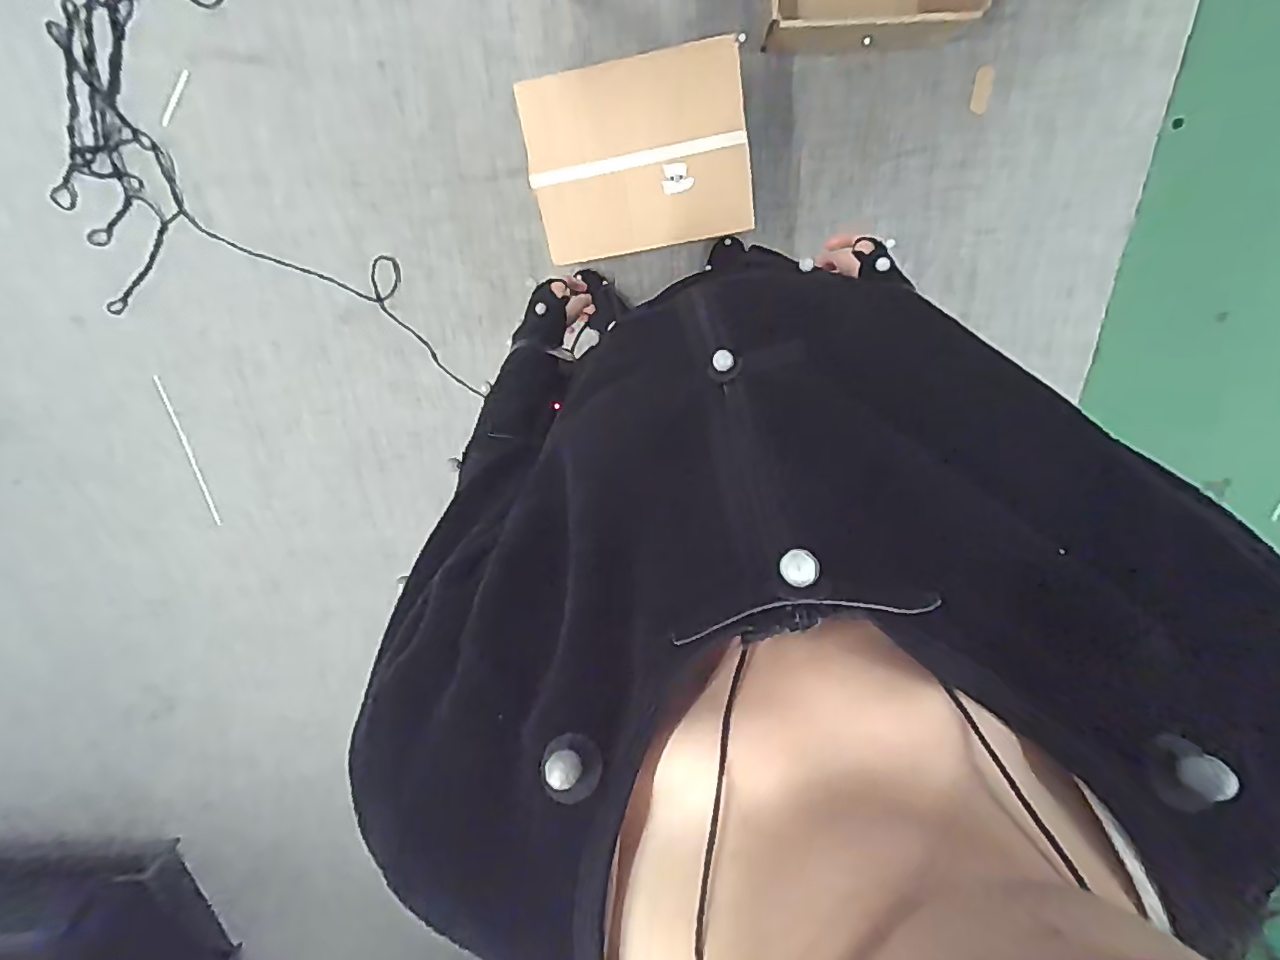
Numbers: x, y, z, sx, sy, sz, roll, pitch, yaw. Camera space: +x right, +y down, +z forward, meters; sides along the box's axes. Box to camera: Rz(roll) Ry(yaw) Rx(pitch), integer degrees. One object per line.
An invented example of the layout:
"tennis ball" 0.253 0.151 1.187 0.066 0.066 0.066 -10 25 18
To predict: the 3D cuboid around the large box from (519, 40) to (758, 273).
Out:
"large box" 0.007 -0.635 1.133 0.408 0.320 0.320 -9 112 5
